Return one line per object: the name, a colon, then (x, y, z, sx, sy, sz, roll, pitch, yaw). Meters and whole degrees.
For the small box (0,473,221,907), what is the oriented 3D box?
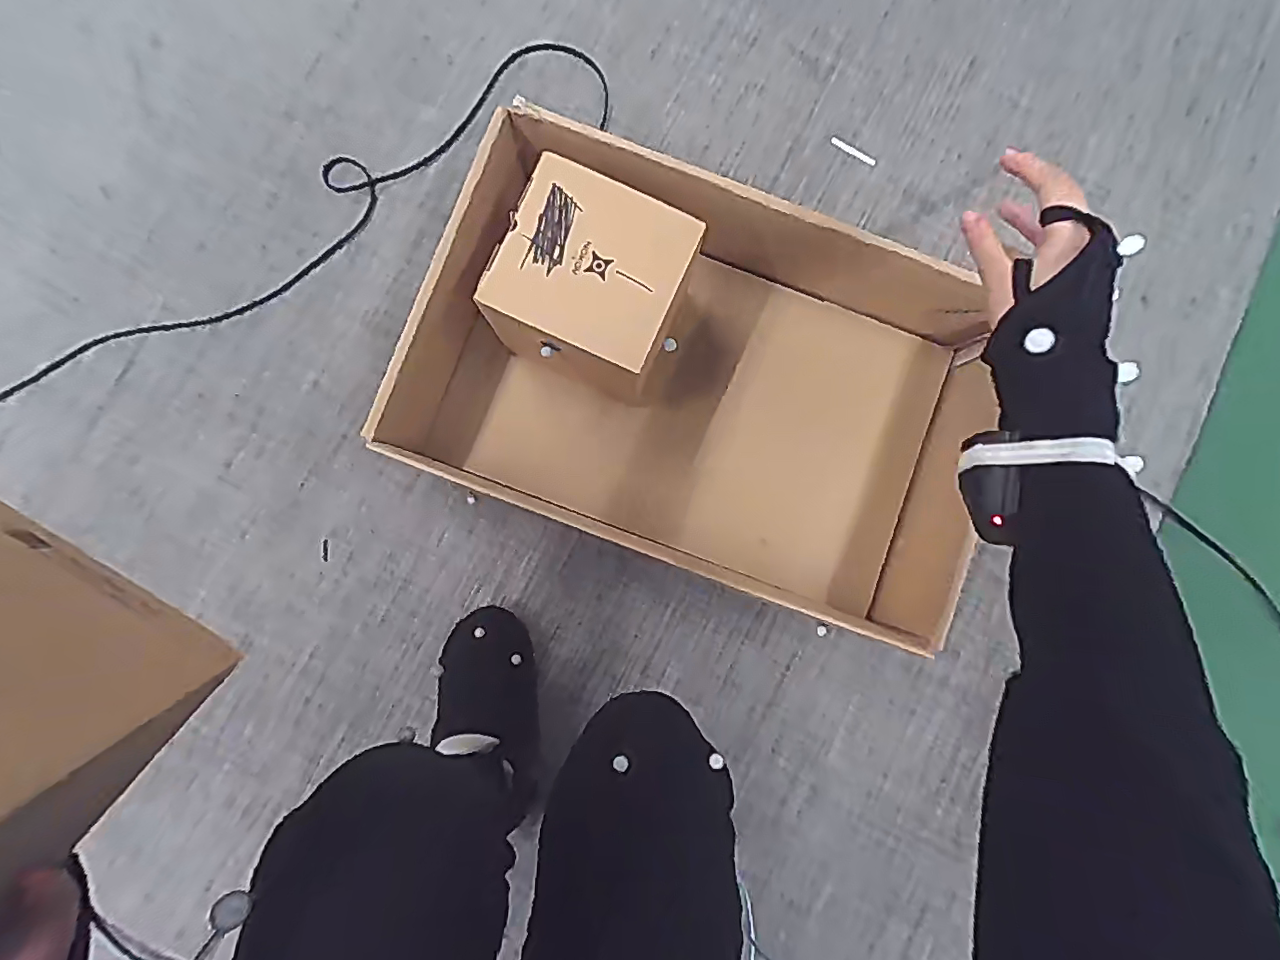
small box: (-0.292, 0.095, 0.171, 0.168, 0.176, 0.179, 41, 76, -13)
